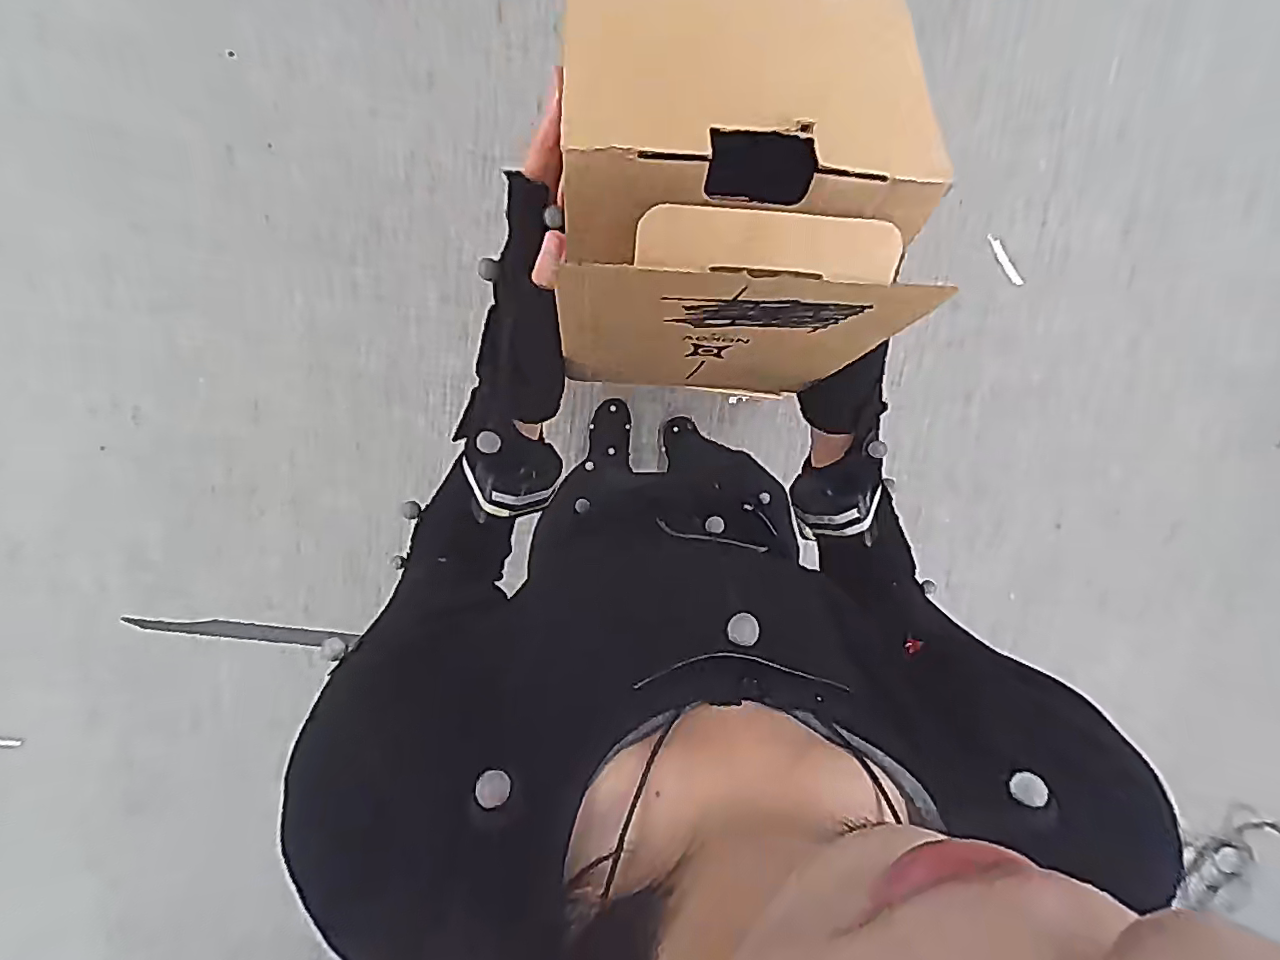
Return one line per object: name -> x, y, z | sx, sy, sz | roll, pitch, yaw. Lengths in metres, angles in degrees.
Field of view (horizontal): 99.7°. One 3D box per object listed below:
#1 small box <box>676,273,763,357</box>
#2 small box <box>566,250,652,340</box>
small box -> 0.187, -0.399, 1.337 | 0.179, 0.176, 0.168 | 7, 100, -2
small box -> -0.077, -0.441, 1.315 | 0.179, 0.176, 0.168 | 9, 99, -5
